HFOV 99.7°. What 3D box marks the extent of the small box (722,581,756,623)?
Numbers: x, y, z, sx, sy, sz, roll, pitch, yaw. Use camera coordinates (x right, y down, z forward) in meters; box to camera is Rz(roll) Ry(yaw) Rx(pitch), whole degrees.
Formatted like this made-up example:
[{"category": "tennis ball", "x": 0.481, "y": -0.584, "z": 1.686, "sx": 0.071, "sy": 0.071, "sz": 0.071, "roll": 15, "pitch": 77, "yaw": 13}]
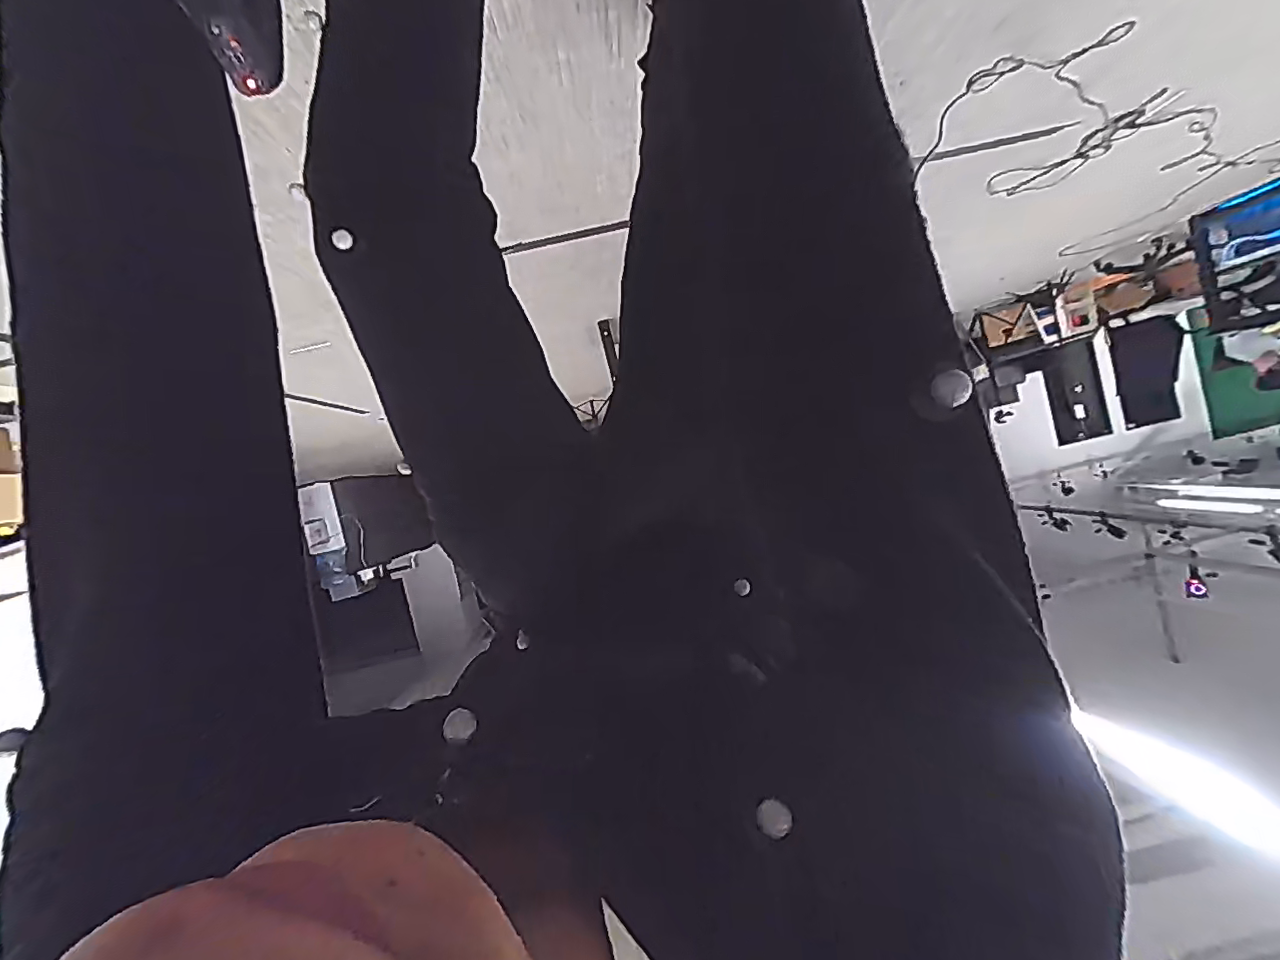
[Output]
[{"category": "small box", "x": 0.551, "y": 0.655, "z": 2.927, "sx": 0.168, "sy": 0.176, "sz": 0.179, "roll": -14, "pitch": -178, "yaw": -1}]
